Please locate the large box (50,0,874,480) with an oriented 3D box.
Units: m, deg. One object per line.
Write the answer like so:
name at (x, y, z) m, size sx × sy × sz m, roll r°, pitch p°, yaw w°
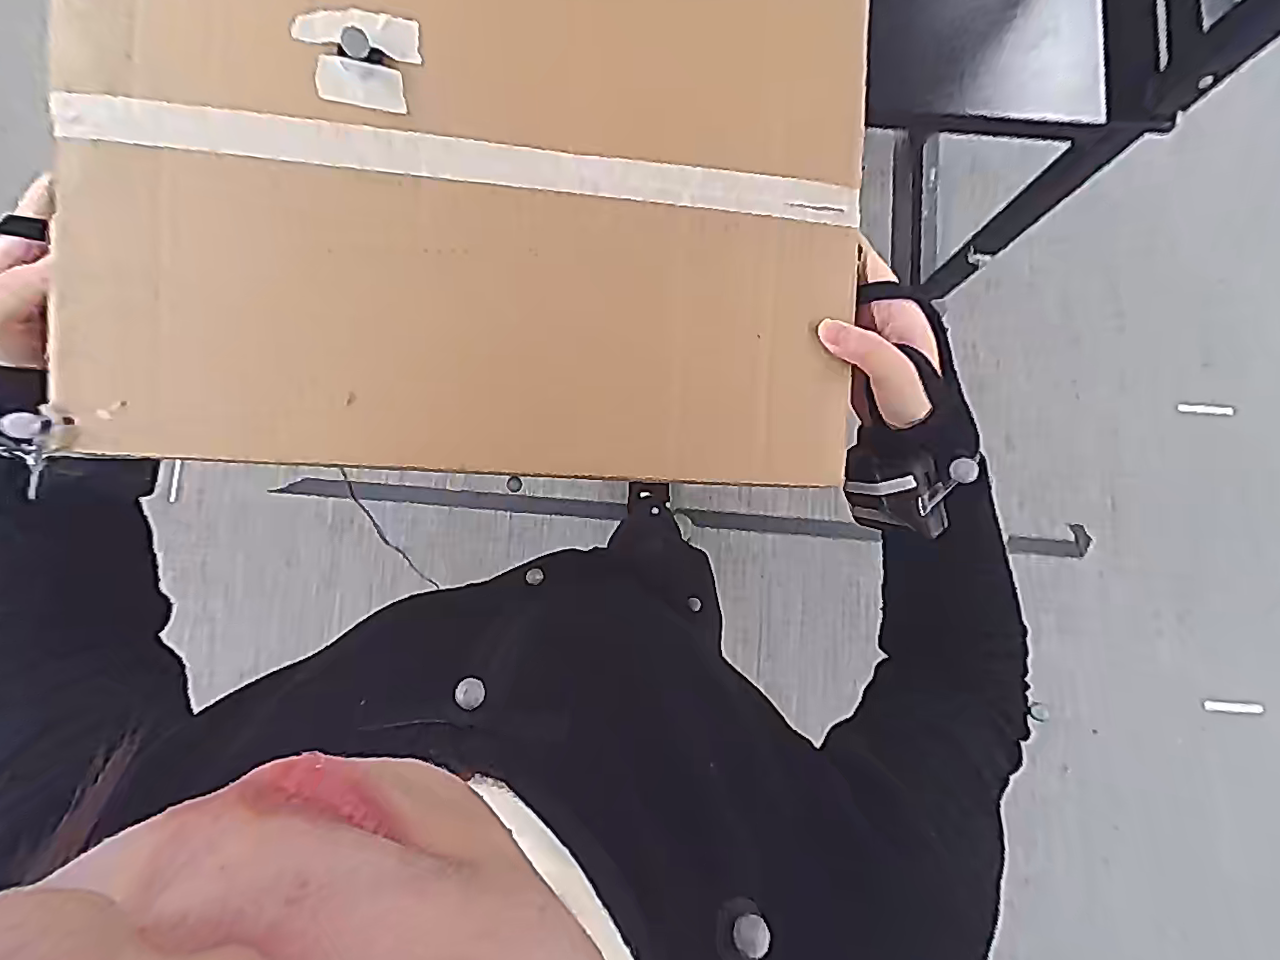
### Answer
large box at (-0.089, -0.165, 0.423) m, size 0.408 × 0.320 × 0.320 m, roll 2°, pitch 91°, yaw -7°
